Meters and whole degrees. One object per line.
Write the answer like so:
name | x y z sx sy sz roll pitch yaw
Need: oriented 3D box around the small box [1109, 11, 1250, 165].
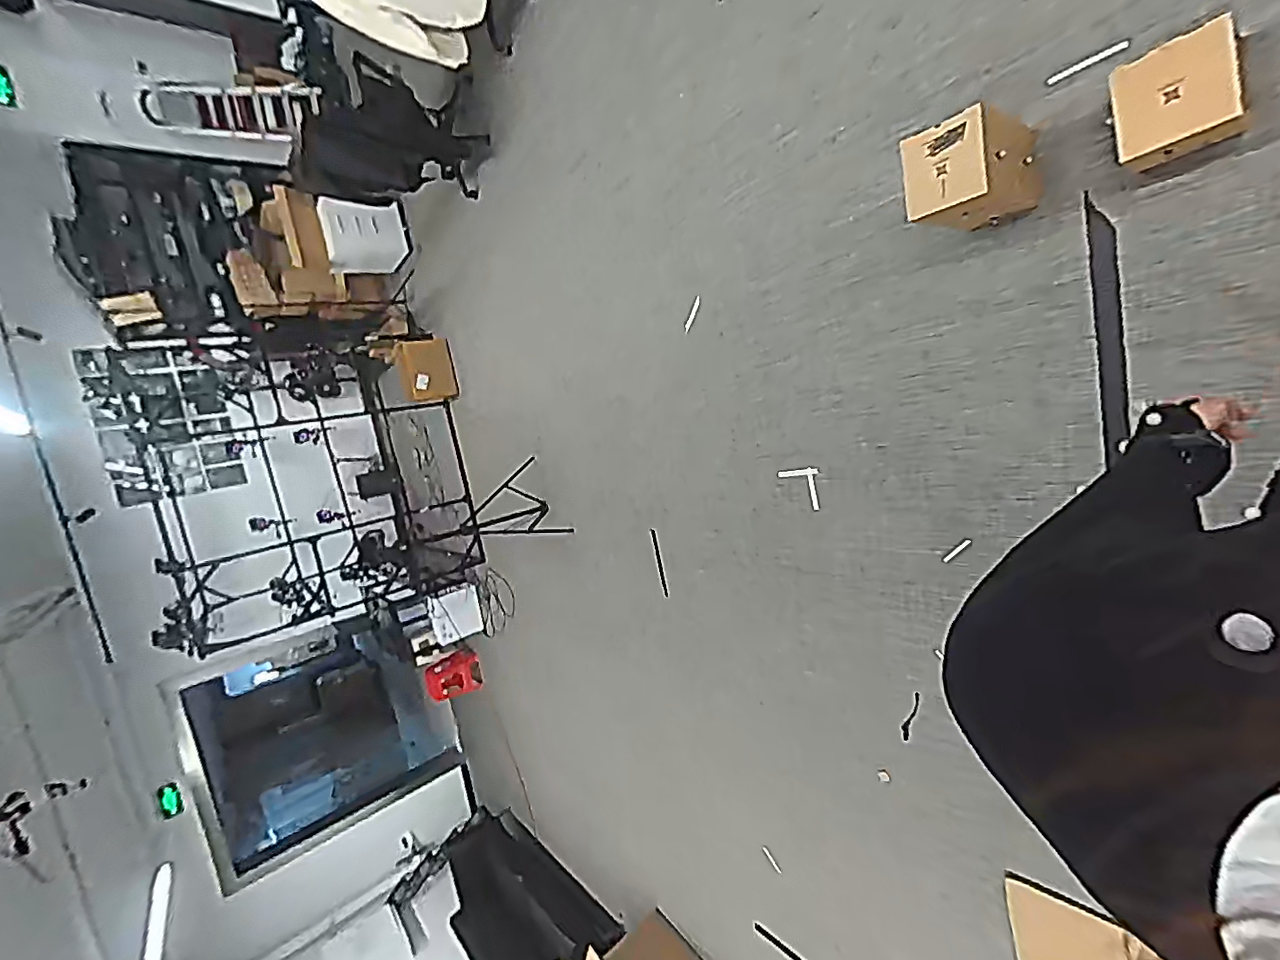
small box | 1.036 -0.732 1.039 0.168 0.176 0.179 -6 98 52

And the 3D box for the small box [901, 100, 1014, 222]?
small box | 0.704 -0.693 1.198 0.168 0.176 0.179 1 104 52
